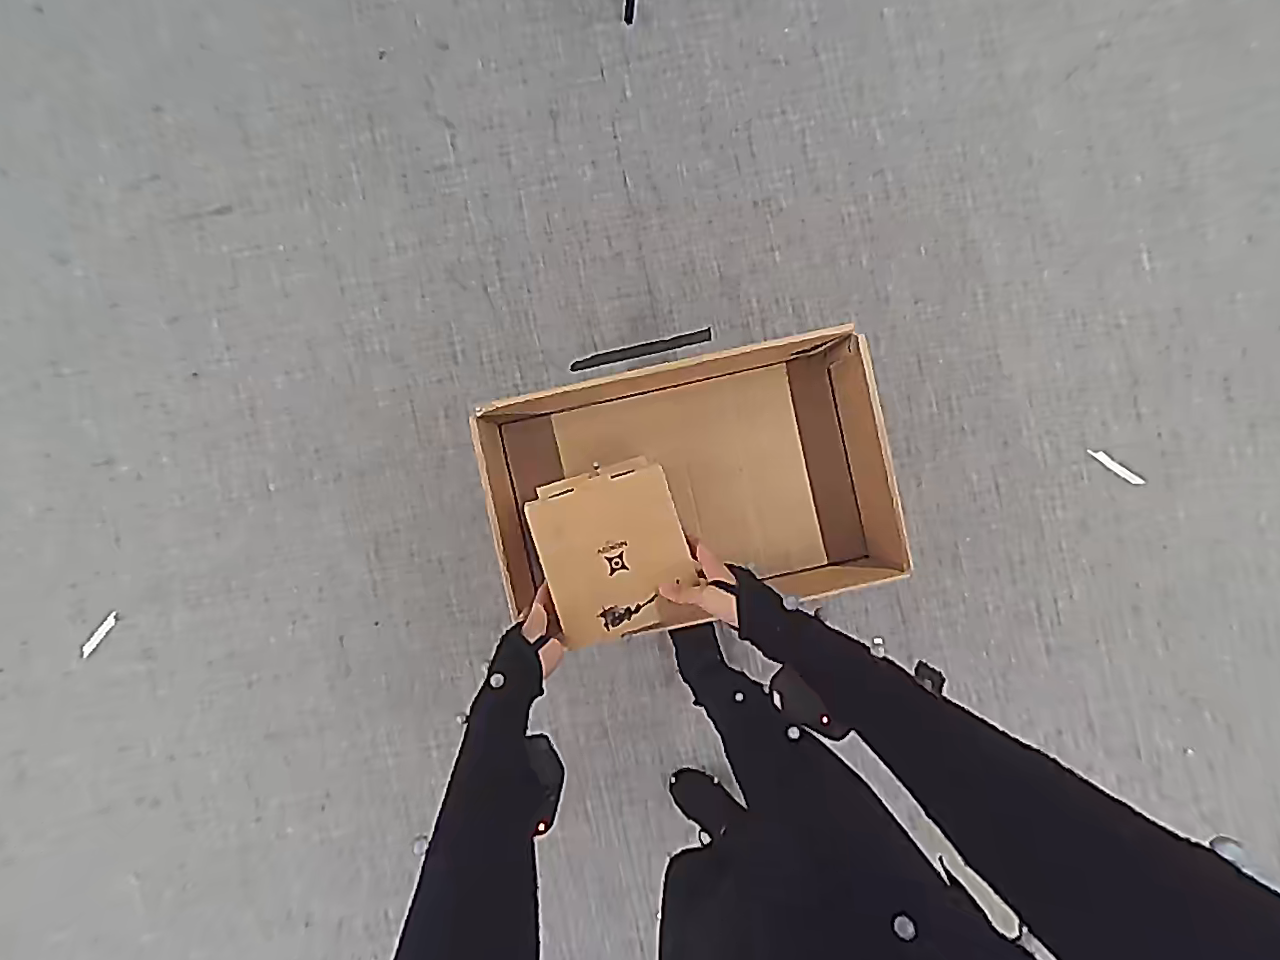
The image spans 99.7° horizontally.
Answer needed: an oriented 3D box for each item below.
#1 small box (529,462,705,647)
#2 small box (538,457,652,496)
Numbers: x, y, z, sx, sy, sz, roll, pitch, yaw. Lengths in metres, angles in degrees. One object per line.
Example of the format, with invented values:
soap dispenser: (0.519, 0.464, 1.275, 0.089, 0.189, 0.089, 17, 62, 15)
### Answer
small box: (-0.030, 0.089, 0.691, 0.168, 0.176, 0.179, -17, 88, -3)
small box: (-0.047, 0.065, 0.872, 0.179, 0.176, 0.168, -17, 89, 0)
